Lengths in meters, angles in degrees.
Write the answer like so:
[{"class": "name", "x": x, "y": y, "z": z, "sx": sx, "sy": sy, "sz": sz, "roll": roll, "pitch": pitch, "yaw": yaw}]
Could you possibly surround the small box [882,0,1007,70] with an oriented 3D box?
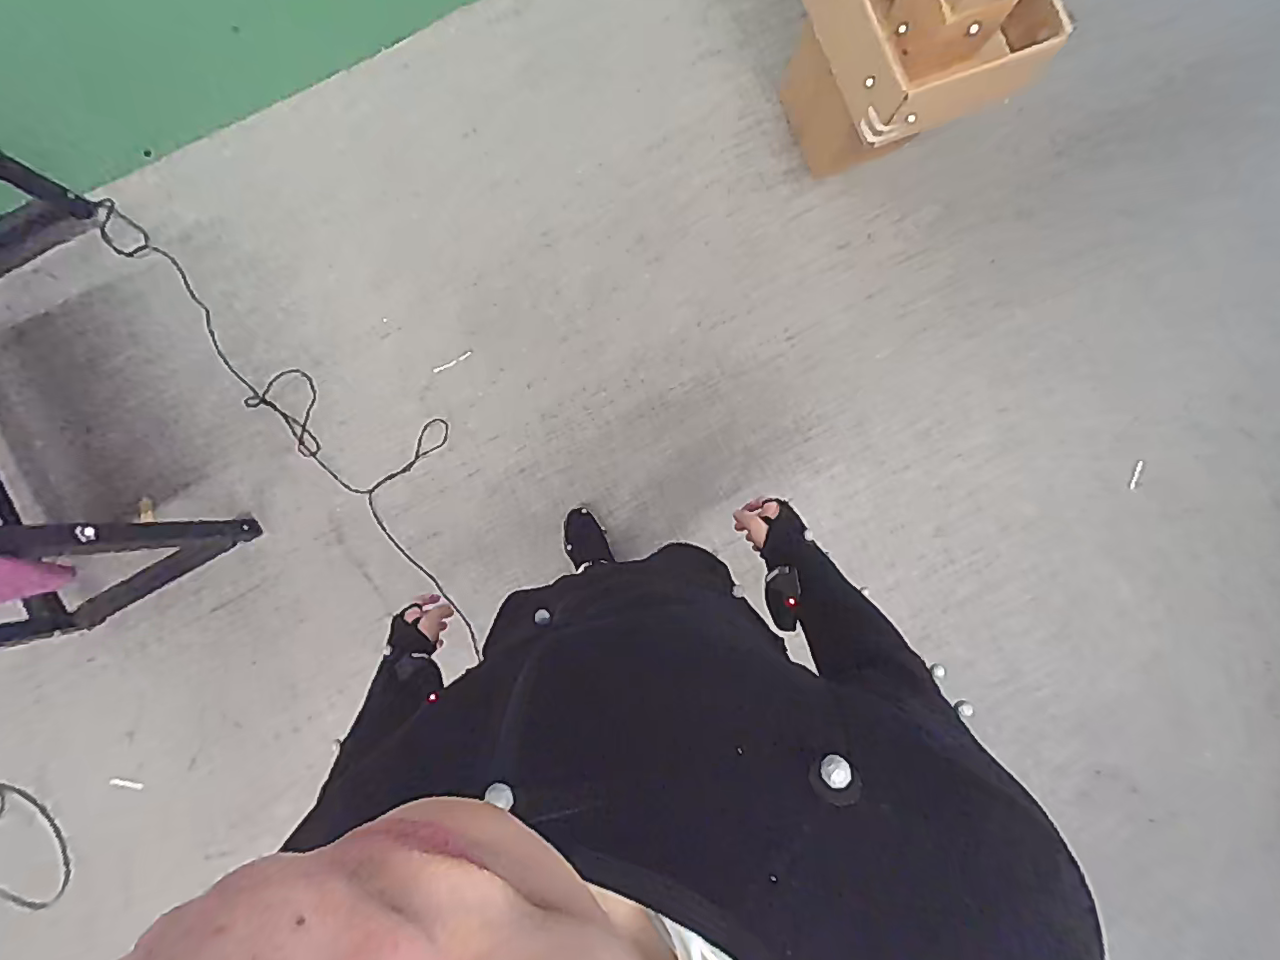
[{"class": "small box", "x": 0.682, "y": -1.077, "z": 1.207, "sx": 0.179, "sy": 0.176, "sz": 0.168, "roll": -22, "pitch": 89, "yaw": -1}]
